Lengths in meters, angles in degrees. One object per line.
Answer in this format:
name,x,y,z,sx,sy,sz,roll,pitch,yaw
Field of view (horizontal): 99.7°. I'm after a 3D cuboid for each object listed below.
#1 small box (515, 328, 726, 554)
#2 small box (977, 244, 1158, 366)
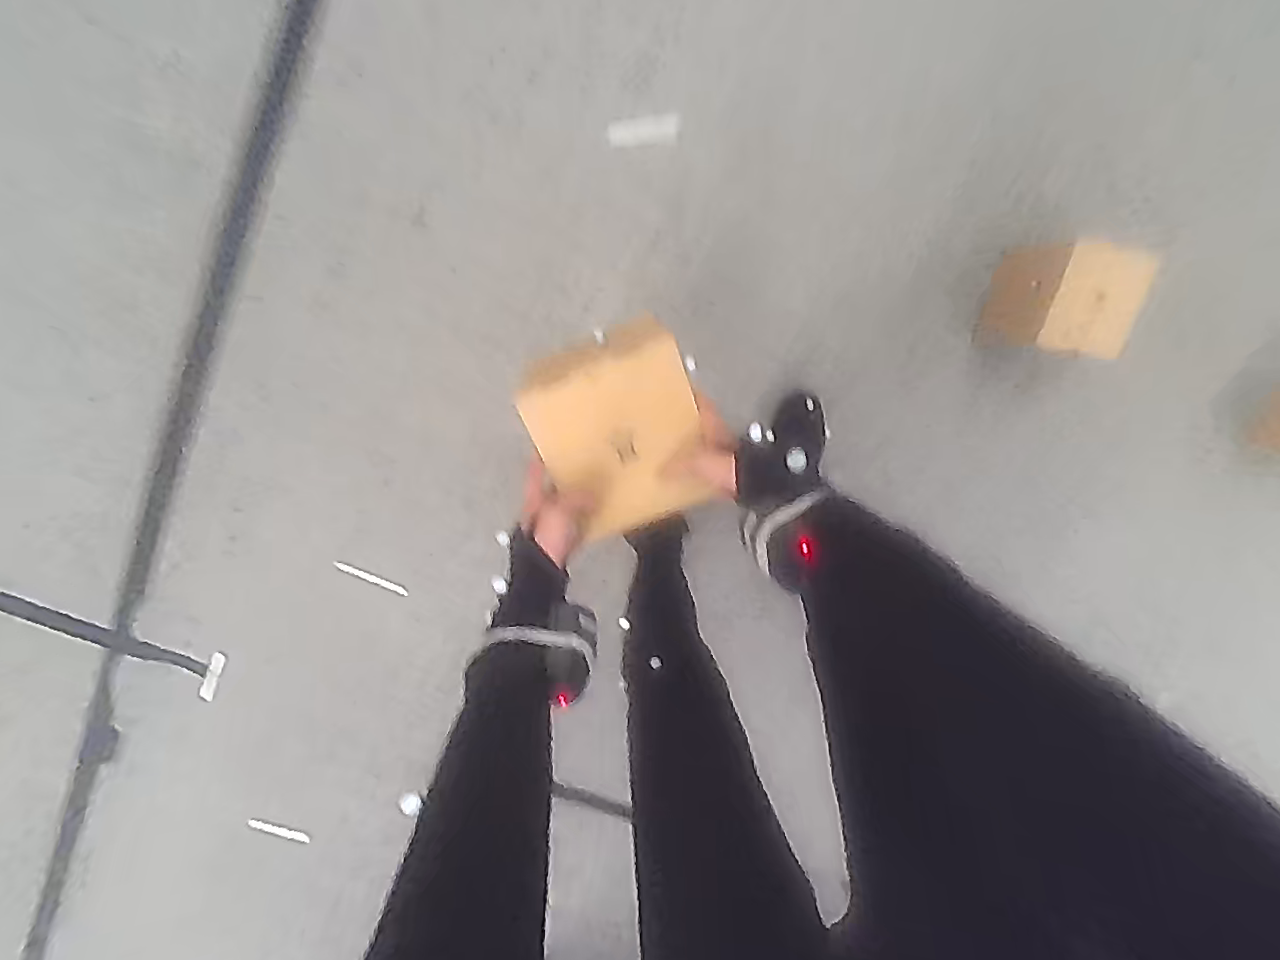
small box,-0.019,-0.052,0.609,0.168,0.176,0.179,-21,113,4
small box,0.767,-0.320,0.994,0.168,0.176,0.179,8,109,-7
